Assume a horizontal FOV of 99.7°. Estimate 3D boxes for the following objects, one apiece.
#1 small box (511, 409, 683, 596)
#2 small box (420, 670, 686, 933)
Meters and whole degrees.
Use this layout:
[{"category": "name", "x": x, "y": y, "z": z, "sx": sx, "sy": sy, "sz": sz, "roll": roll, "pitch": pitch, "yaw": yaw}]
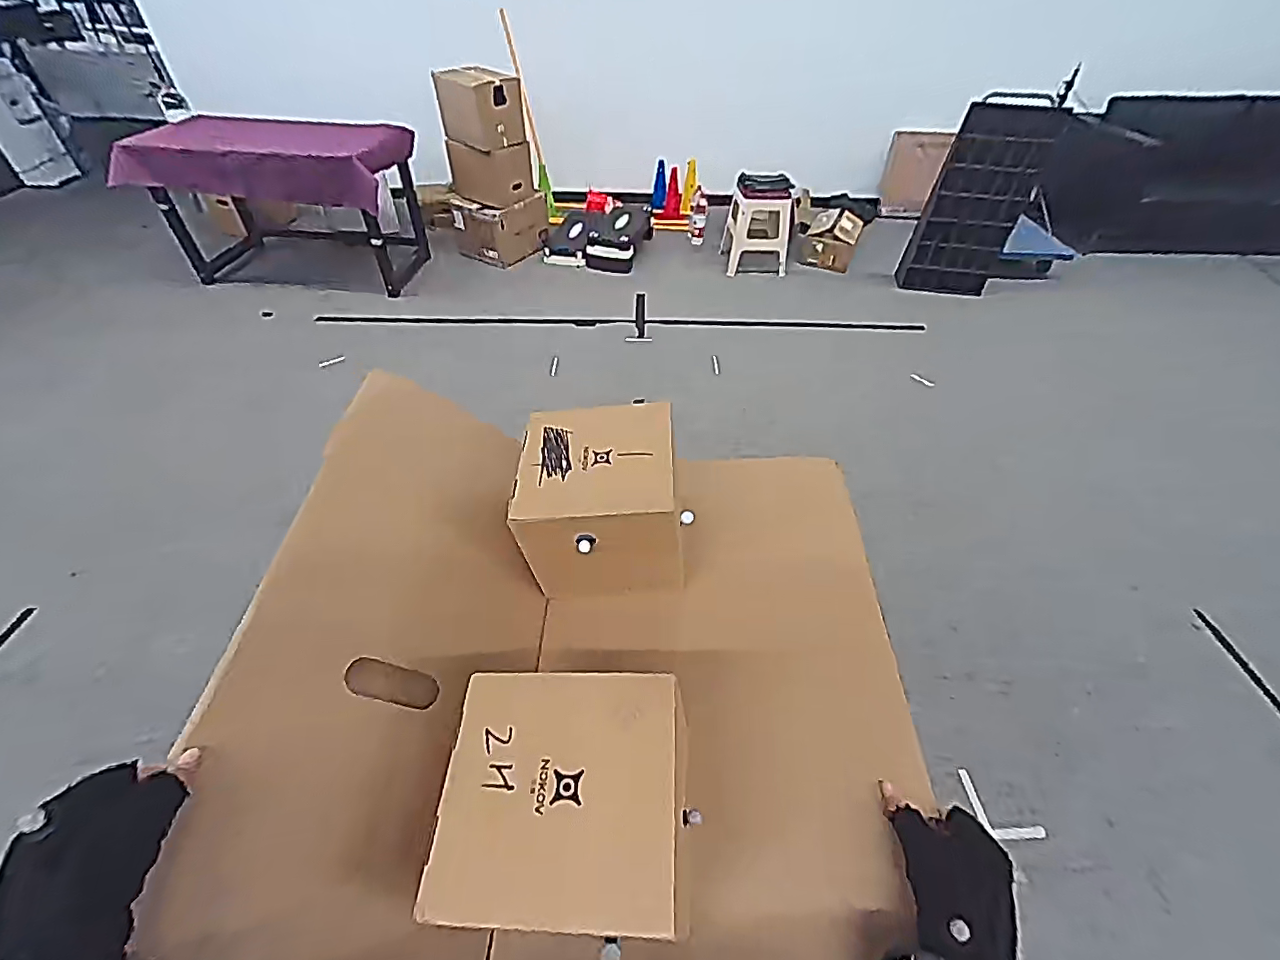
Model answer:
[{"category": "small box", "x": -0.041, "y": 0.033, "z": 0.674, "sx": 0.179, "sy": 0.176, "sz": 0.168, "roll": -3, "pitch": 50, "yaw": 5}, {"category": "small box", "x": -0.051, "y": 0.277, "z": 0.468, "sx": 0.179, "sy": 0.176, "sz": 0.168, "roll": -2, "pitch": 50, "yaw": 8}]
